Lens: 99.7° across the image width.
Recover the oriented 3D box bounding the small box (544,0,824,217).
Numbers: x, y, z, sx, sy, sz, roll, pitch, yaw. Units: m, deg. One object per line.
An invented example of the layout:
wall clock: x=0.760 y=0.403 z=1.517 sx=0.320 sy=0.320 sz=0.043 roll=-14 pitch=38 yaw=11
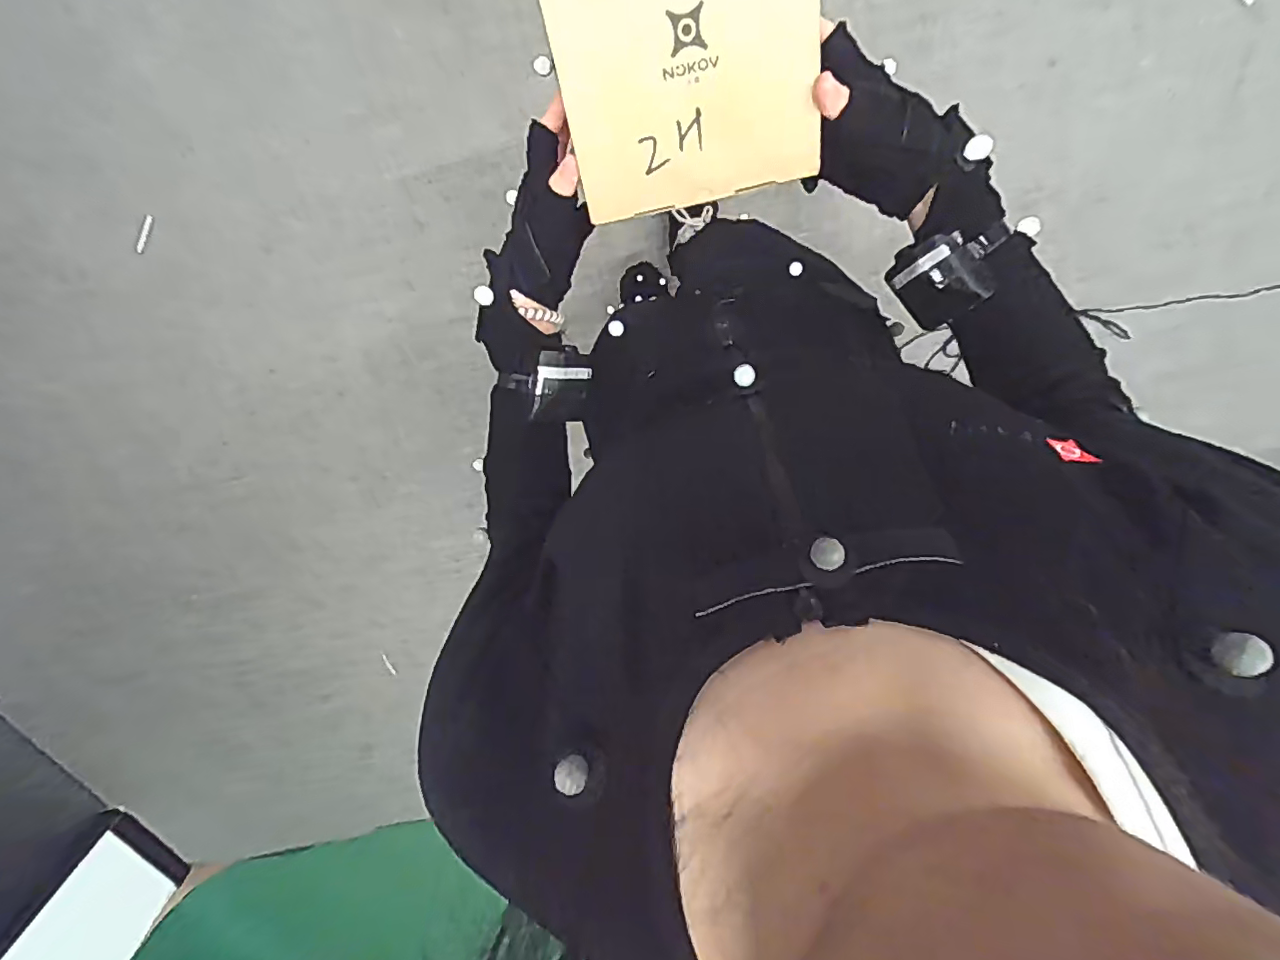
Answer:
small box: x=0.023 y=-0.312 z=0.390 sx=0.168 sy=0.176 sz=0.179 roll=-11 pitch=126 yaw=4
